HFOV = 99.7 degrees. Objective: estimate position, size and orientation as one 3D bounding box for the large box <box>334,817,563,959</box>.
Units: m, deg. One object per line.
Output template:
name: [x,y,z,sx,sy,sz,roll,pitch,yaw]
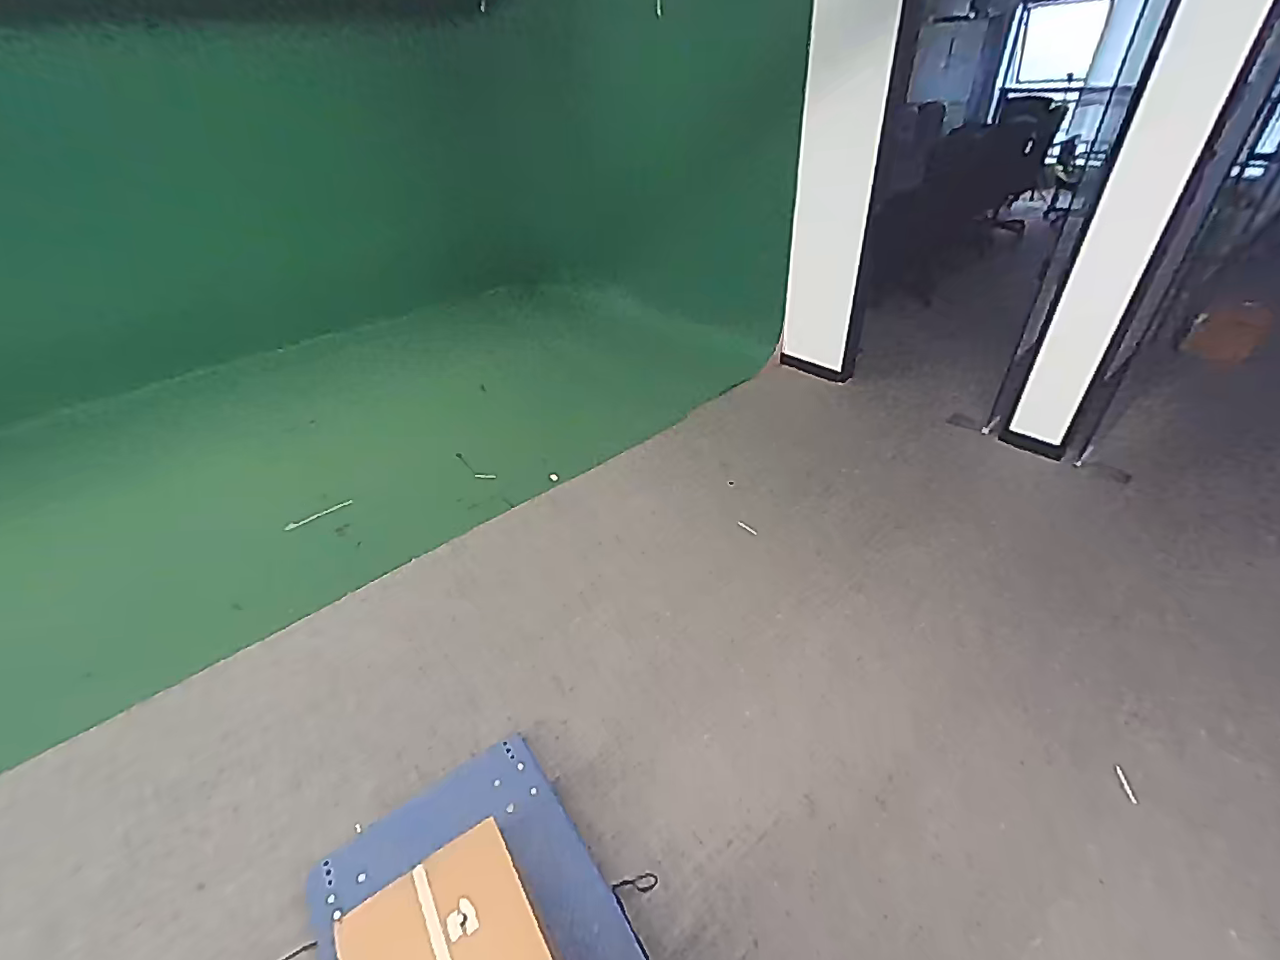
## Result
large box: [-0.304,0.950,0.990,0.320,0.320,0.408,-24,41,-24]
